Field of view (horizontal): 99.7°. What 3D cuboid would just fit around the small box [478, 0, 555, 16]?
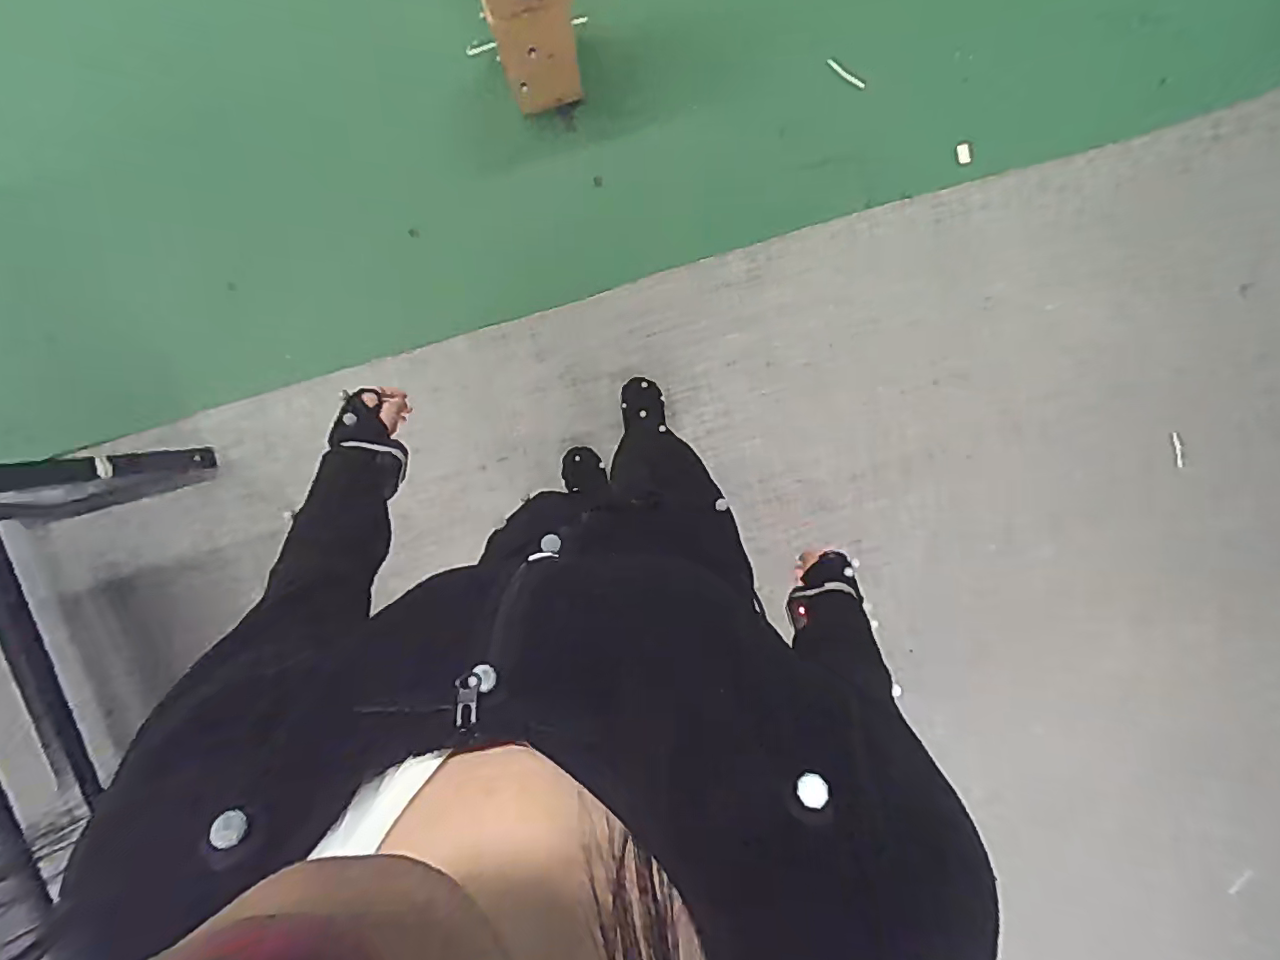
[{"bbox_3d":[-0.244,-0.988,0.956,0.168,0.176,0.179,-16,97,-1],"label":"small box"}]

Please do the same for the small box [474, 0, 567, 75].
[{"bbox_3d":[-0.258,-0.998,1.120,0.168,0.176,0.179,-17,97,-1],"label":"small box"}]
